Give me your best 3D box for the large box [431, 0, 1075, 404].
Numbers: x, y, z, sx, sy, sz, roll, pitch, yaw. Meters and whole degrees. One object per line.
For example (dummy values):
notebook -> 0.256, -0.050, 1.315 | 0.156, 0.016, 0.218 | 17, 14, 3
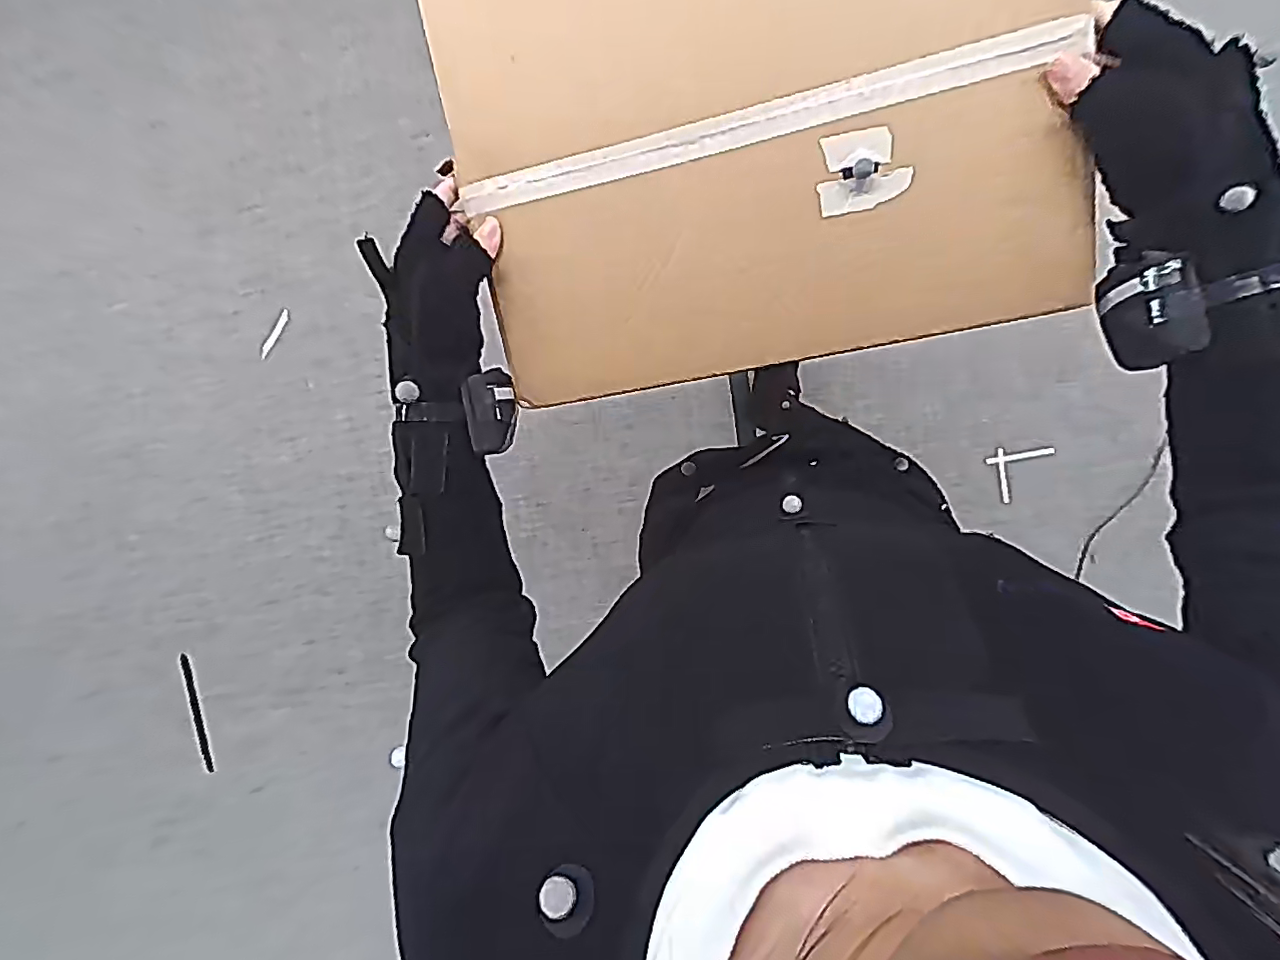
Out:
large box -> 0.092, -0.277, 0.514 | 0.408, 0.320, 0.320 | -10, 104, 10
